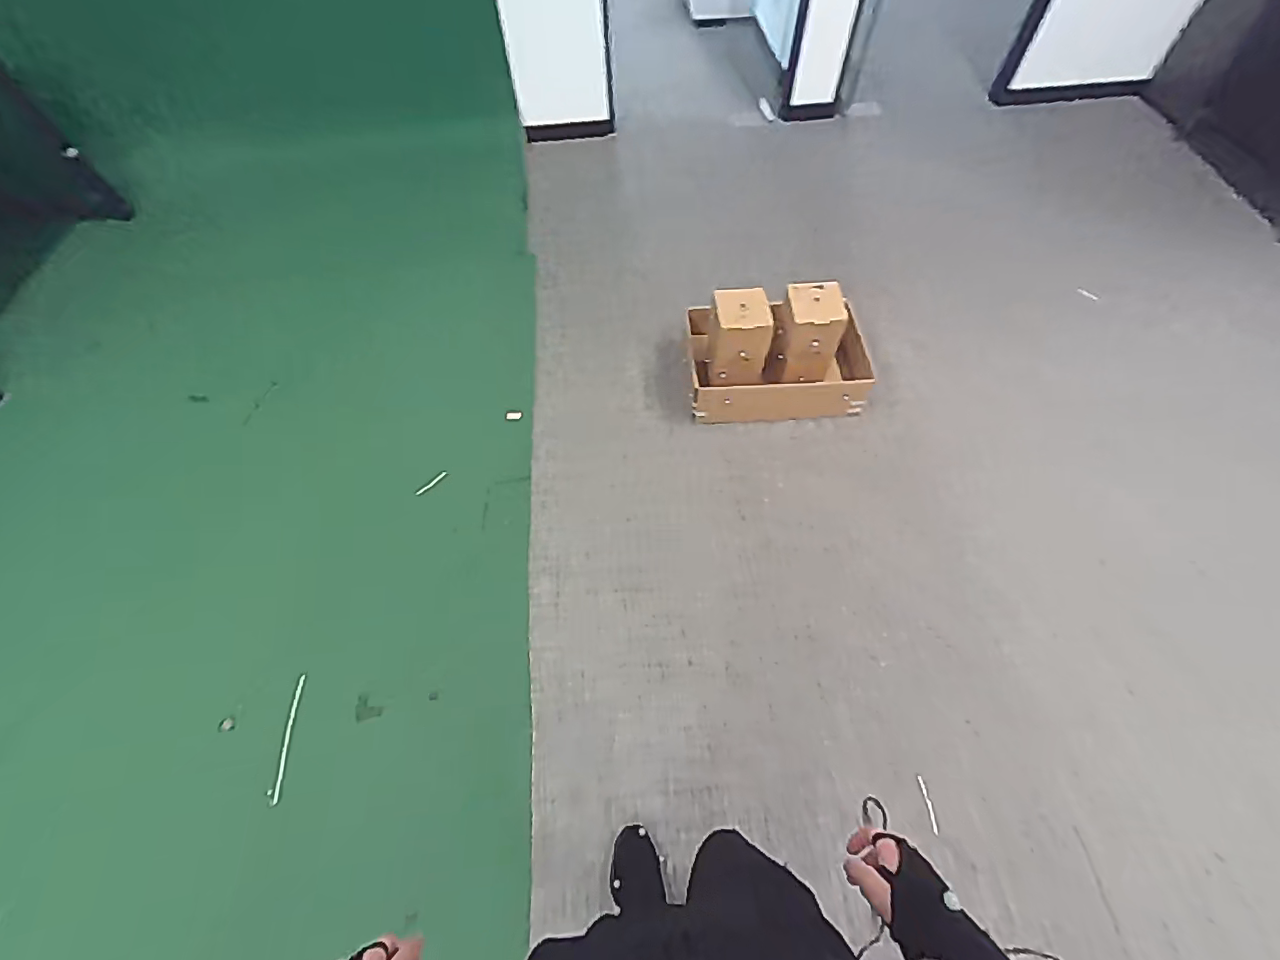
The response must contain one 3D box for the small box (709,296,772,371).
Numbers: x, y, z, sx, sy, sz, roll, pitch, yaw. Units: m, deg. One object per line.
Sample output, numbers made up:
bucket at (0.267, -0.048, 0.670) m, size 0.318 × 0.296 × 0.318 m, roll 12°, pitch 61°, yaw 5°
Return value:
small box at (0.324, -0.480, 1.782) m, size 0.168 × 0.176 × 0.179 m, roll -4°, pitch 59°, yaw -1°
